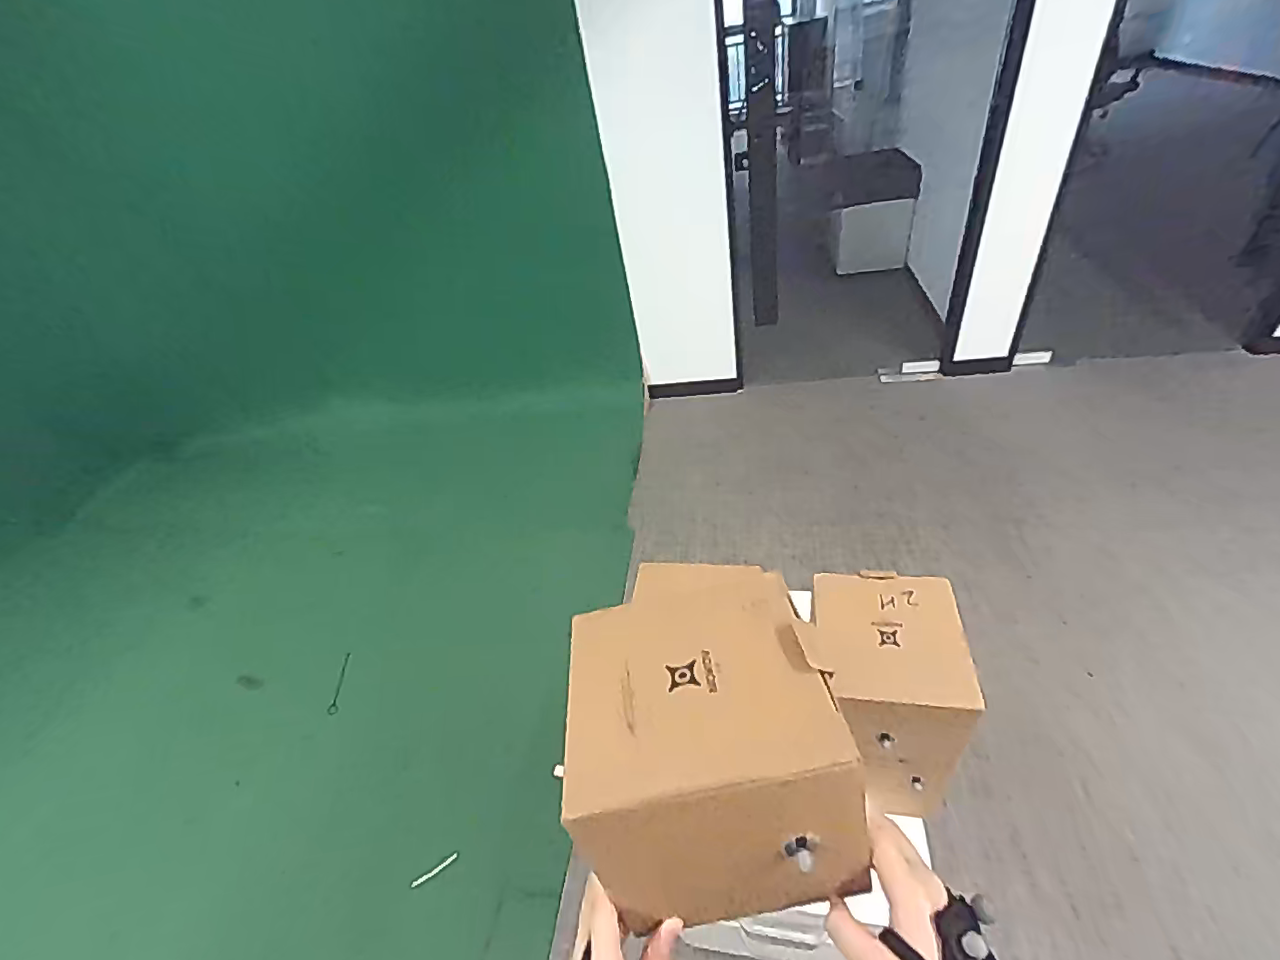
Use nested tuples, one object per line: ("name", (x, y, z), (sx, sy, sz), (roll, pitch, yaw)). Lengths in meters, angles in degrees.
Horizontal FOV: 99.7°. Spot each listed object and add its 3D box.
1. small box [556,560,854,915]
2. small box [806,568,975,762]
("small box", (0.049, 0.193, 0.416), (0.179, 0.176, 0.168), (-15, 31, 4))
("small box", (0.301, 0.236, 0.692), (0.168, 0.176, 0.179), (1, 42, 14))
